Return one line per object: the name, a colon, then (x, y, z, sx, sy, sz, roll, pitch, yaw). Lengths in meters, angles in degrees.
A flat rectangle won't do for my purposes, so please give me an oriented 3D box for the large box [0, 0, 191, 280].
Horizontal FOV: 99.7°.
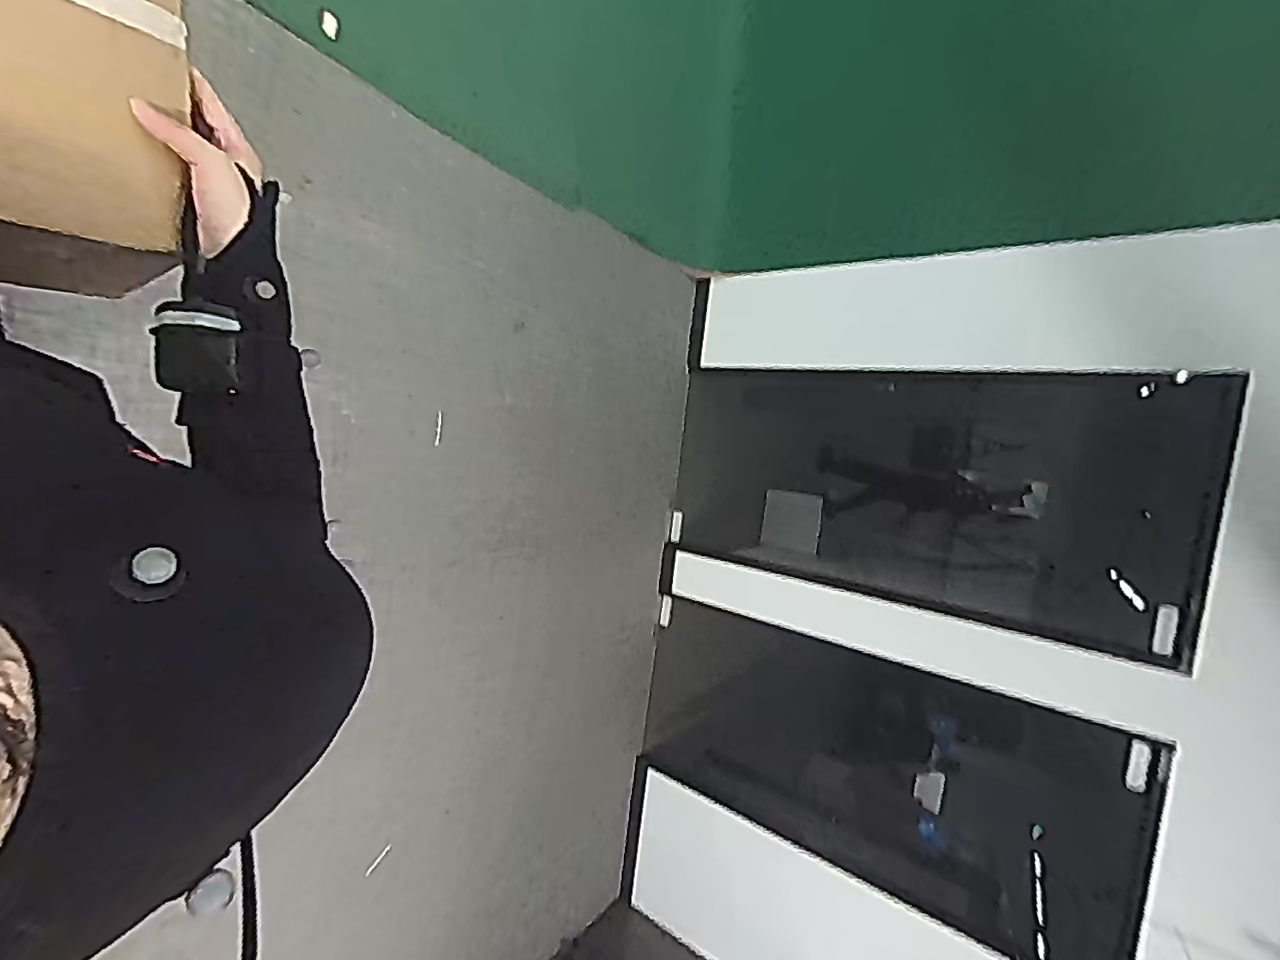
large box: (-0.582, -0.334, 0.330, 0.408, 0.320, 0.320, -8, 103, -52)
